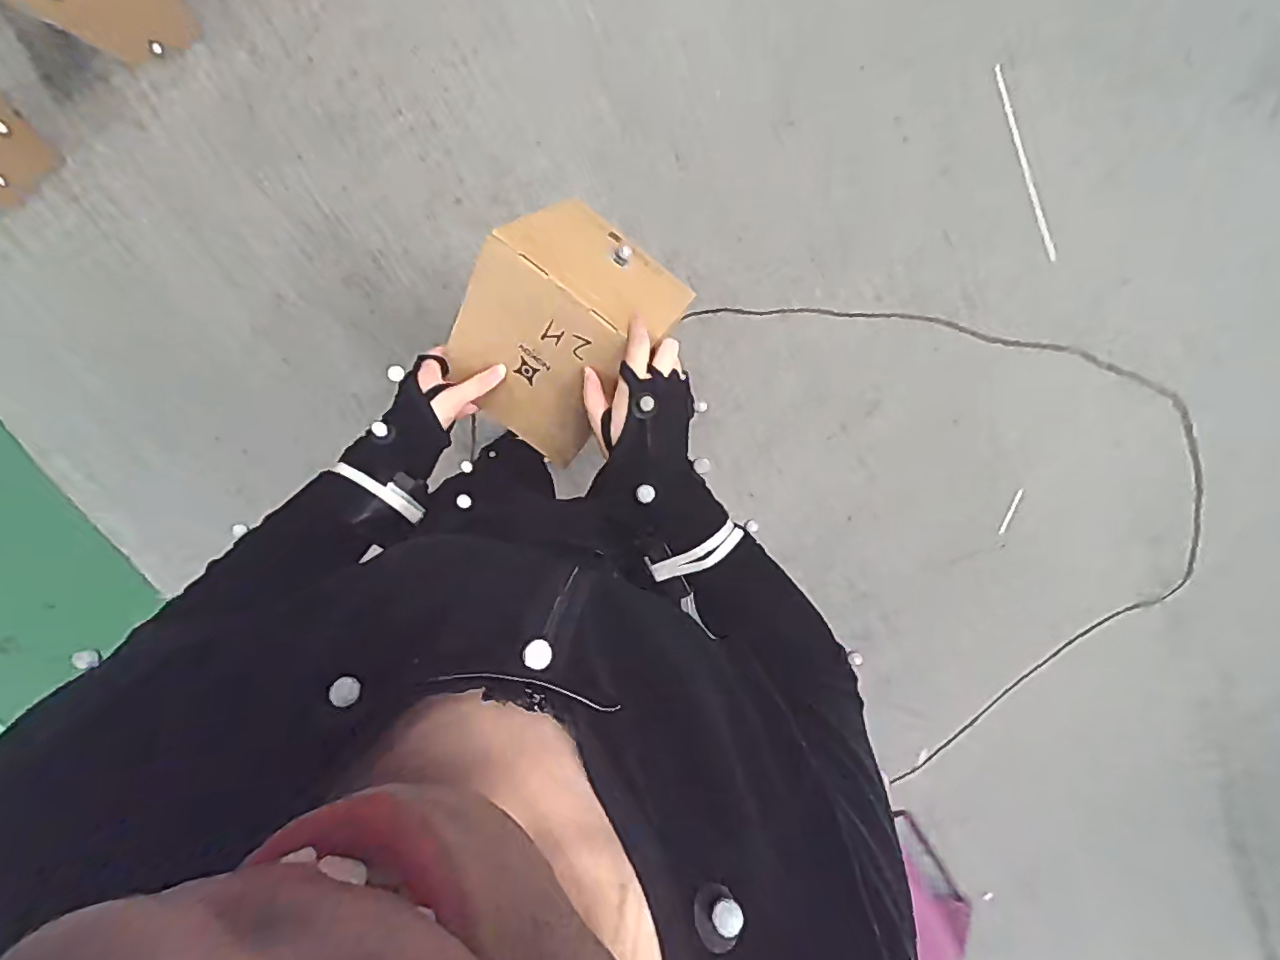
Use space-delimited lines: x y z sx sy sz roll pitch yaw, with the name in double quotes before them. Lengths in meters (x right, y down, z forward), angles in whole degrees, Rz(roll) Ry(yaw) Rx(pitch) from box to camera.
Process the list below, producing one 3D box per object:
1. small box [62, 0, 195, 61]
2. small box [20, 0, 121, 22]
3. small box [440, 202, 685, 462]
"small box" -1.031 -0.976 1.059 0.179 0.176 0.168 -21 105 1
"small box" -1.016 -0.925 0.903 0.179 0.176 0.168 -19 106 2
"small box" -0.075 -0.159 0.576 0.168 0.176 0.179 37 131 -6
